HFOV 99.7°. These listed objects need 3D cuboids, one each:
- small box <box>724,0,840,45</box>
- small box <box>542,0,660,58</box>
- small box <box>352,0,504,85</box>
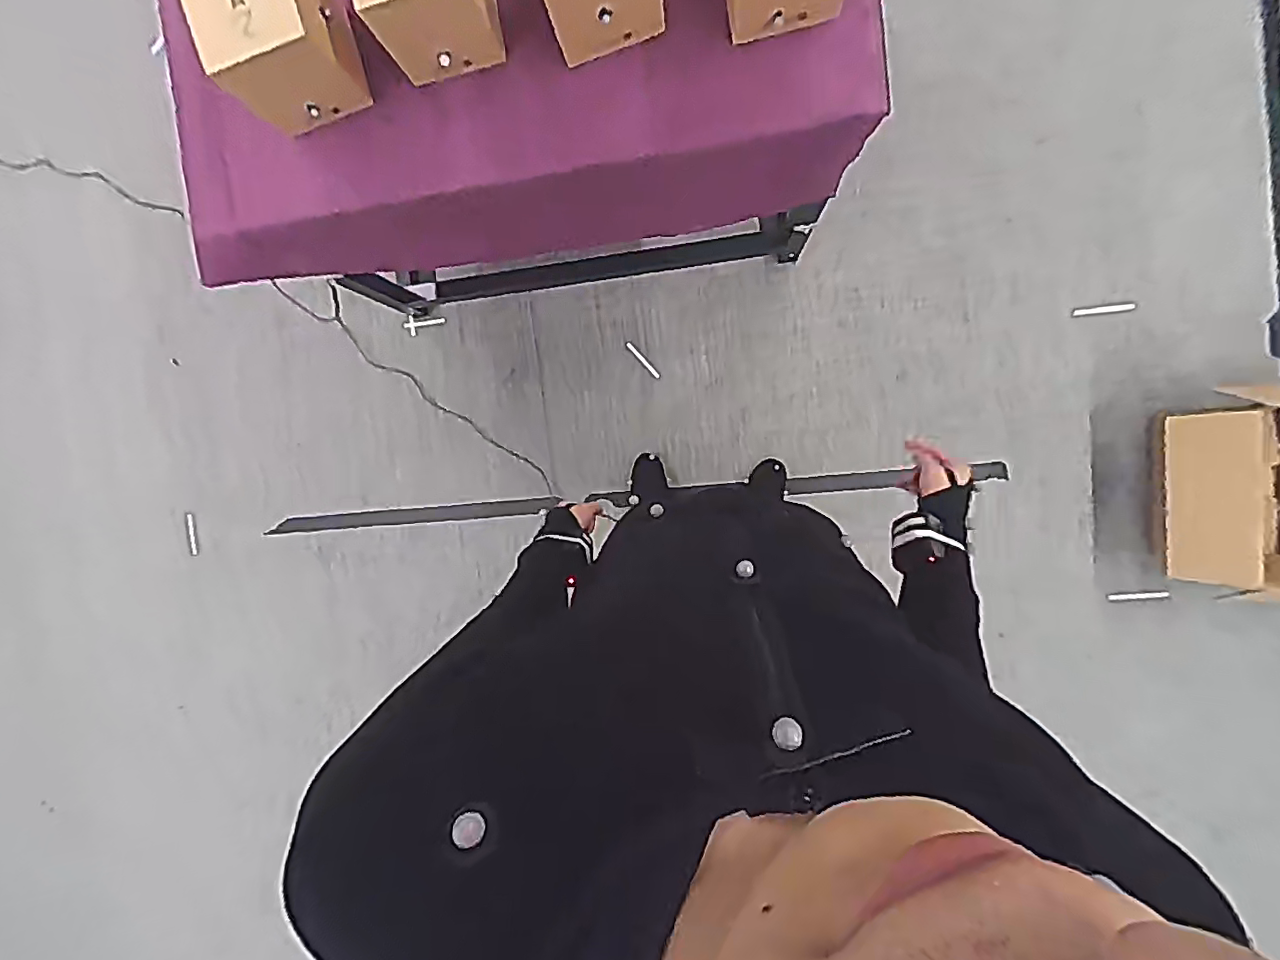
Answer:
[{"bbox_3d":[0.199,-0.775,0.760,0.168,0.176,0.179,-9,92,8],"label":"small box"},{"bbox_3d":[-0.072,-0.769,0.790,0.168,0.176,0.179,-15,92,7],"label":"small box"},{"bbox_3d":[-0.324,-0.754,0.819,0.168,0.176,0.179,-10,93,7],"label":"small box"}]
